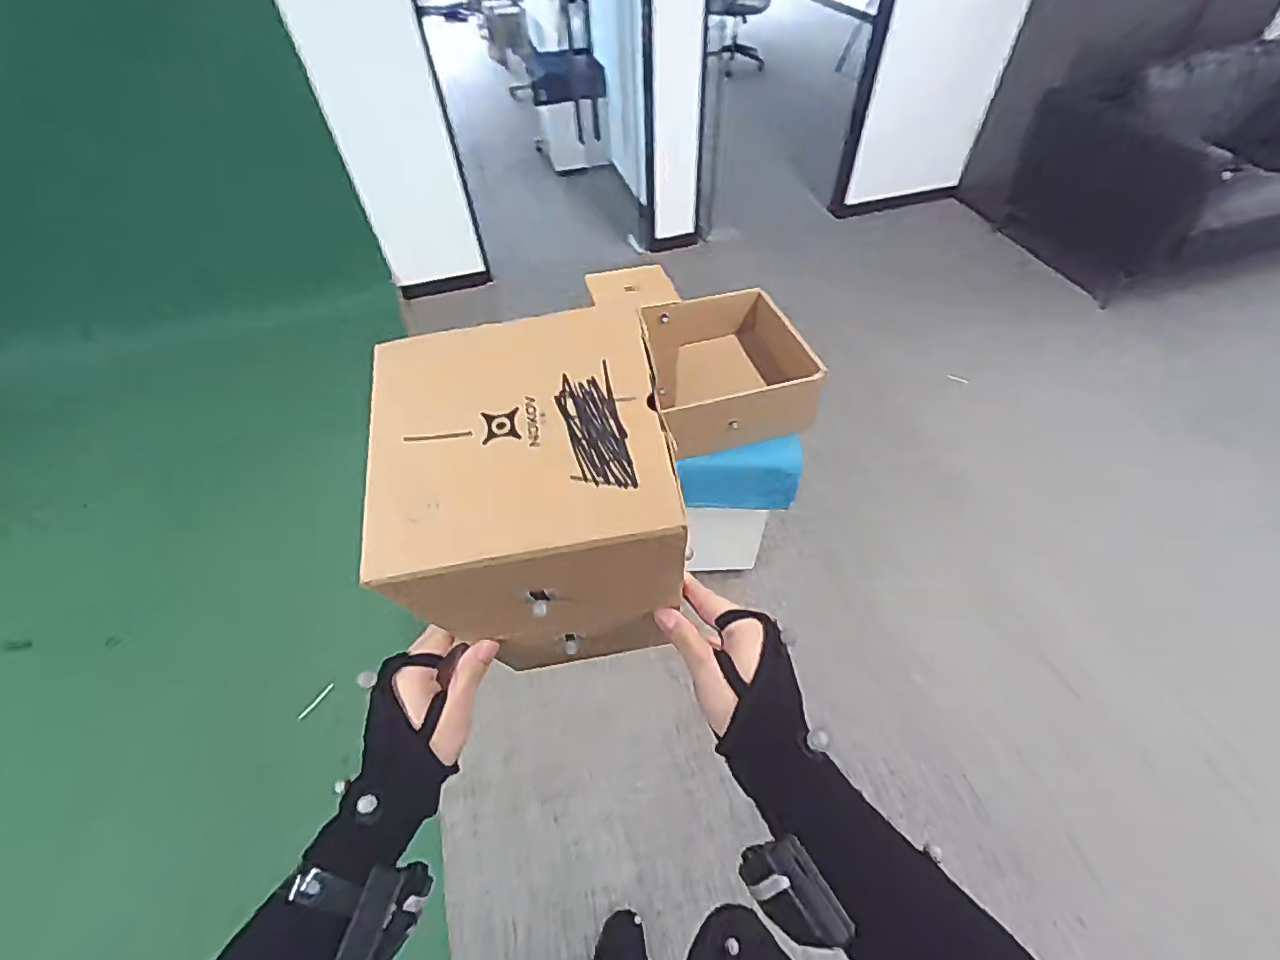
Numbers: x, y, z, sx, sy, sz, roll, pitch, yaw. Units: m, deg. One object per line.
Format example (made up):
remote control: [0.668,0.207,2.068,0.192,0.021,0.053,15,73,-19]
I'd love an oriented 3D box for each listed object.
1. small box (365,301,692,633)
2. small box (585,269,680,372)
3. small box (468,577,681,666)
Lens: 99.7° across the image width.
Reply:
small box: [-0.066,0.002,0.390,0.179,0.176,0.168,-9,62,-1]
small box: [-0.017,-0.346,1.211,0.179,0.176,0.168,-12,49,-10]
small box: [-0.058,0.078,0.536,0.179,0.176,0.168,-9,63,-2]
